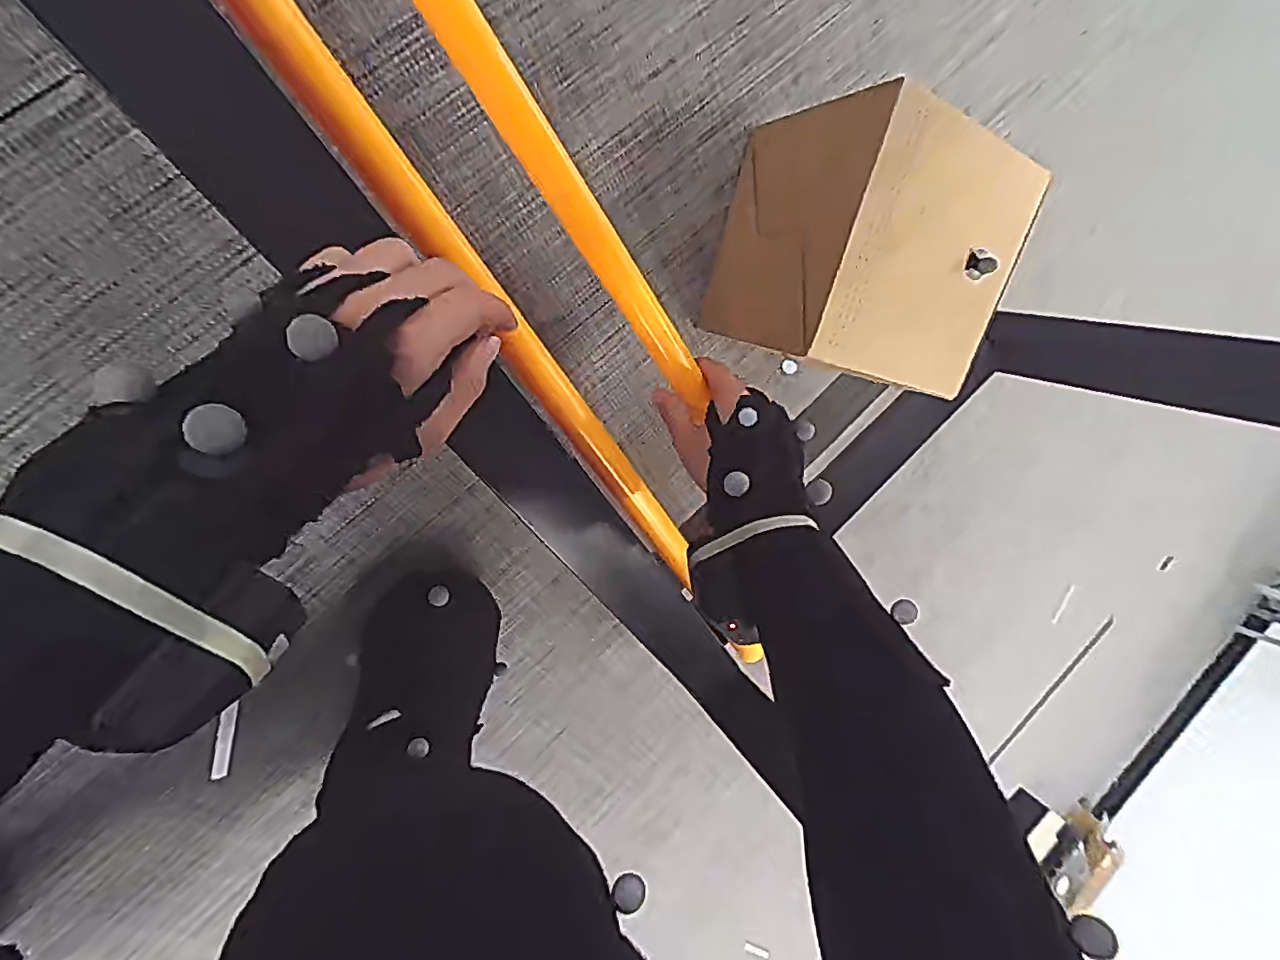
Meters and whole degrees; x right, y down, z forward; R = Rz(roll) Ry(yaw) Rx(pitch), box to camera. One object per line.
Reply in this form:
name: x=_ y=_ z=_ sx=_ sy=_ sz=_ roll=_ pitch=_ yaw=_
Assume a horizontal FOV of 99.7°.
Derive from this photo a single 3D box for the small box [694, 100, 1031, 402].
small box: x=0.171 y=-0.180 z=0.458 sx=0.176 sy=0.168 sz=0.179 roll=8 pitch=107 yaw=-27
